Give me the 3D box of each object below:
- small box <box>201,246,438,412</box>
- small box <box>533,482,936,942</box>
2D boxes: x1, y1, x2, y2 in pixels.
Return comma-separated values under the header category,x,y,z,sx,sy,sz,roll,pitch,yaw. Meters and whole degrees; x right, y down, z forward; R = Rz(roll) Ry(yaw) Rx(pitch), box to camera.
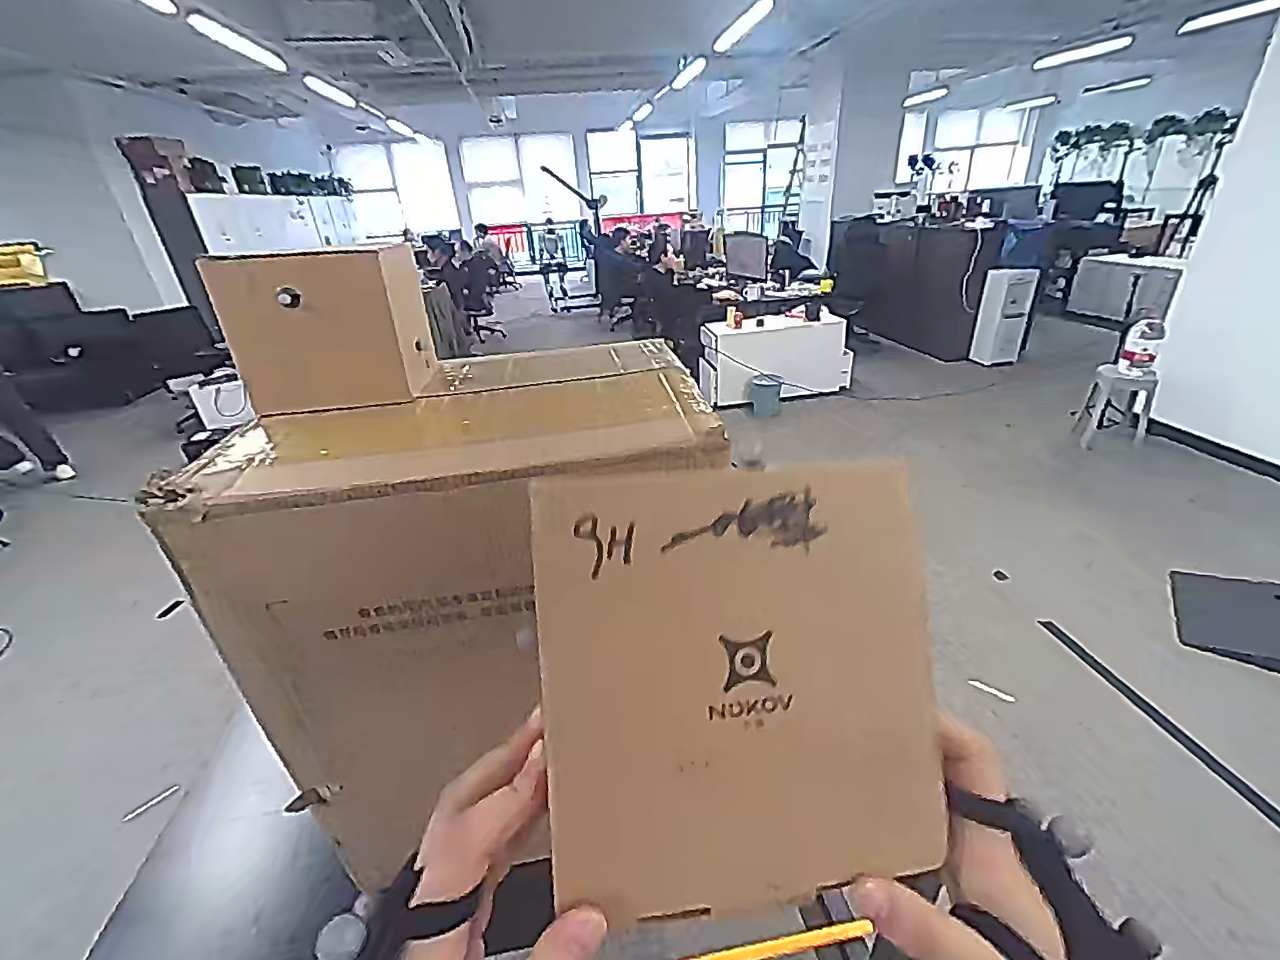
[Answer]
category,x,y,z,sx,sy,sz,roll,pitch,yaw
small box,-0.366,-0.187,0.657,0.179,0.176,0.168,-6,26,-6
small box,0.031,0.096,0.306,0.168,0.179,0.176,-4,-4,-9
